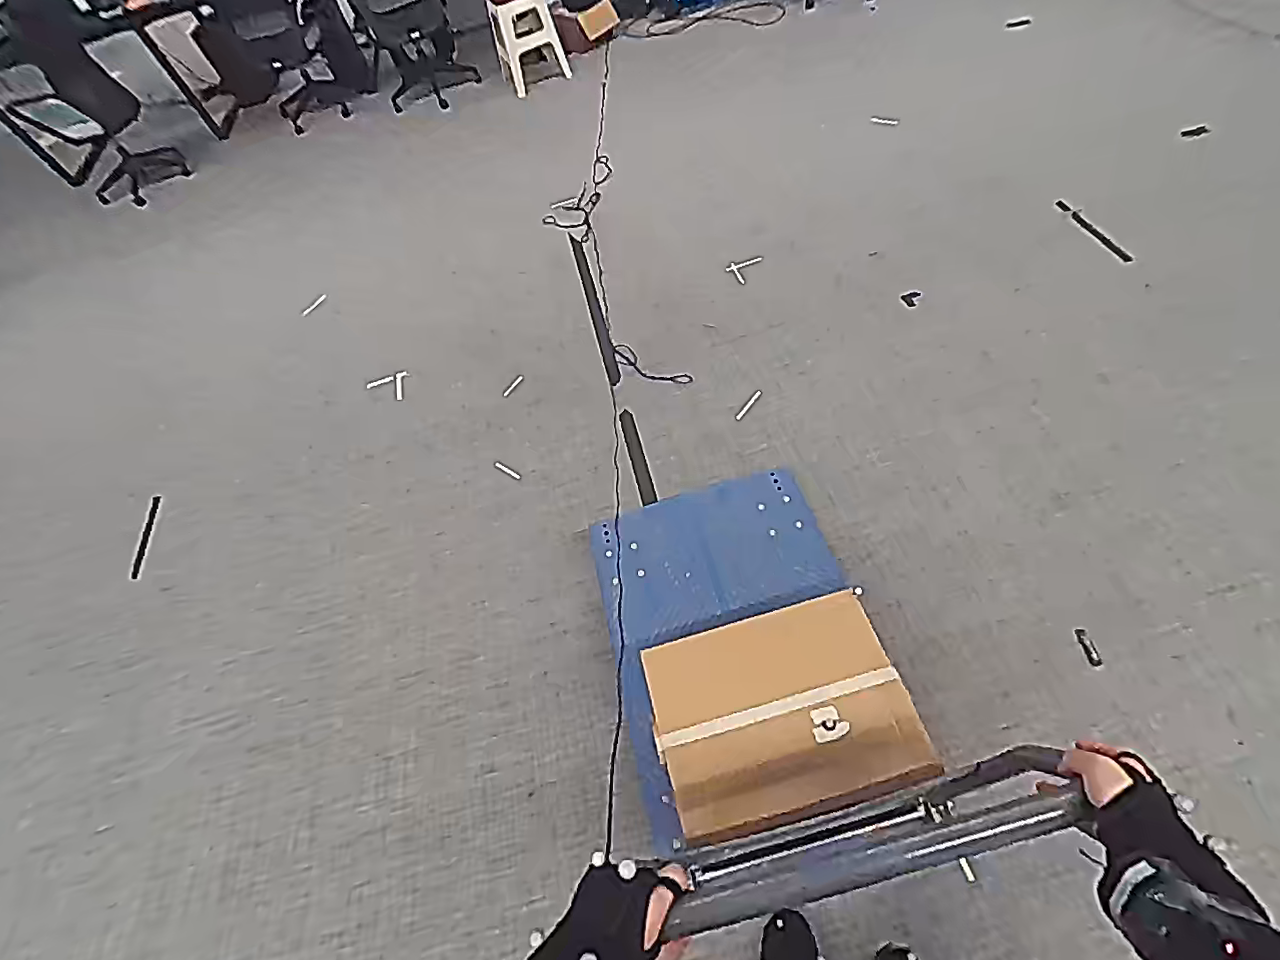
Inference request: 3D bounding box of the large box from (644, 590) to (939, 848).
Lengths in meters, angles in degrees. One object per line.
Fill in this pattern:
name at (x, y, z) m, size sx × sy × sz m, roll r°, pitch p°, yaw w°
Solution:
large box at (0.255, 0.460, 1.024) m, size 0.408 × 0.320 × 0.320 m, roll -17°, pitch 56°, yaw 0°
